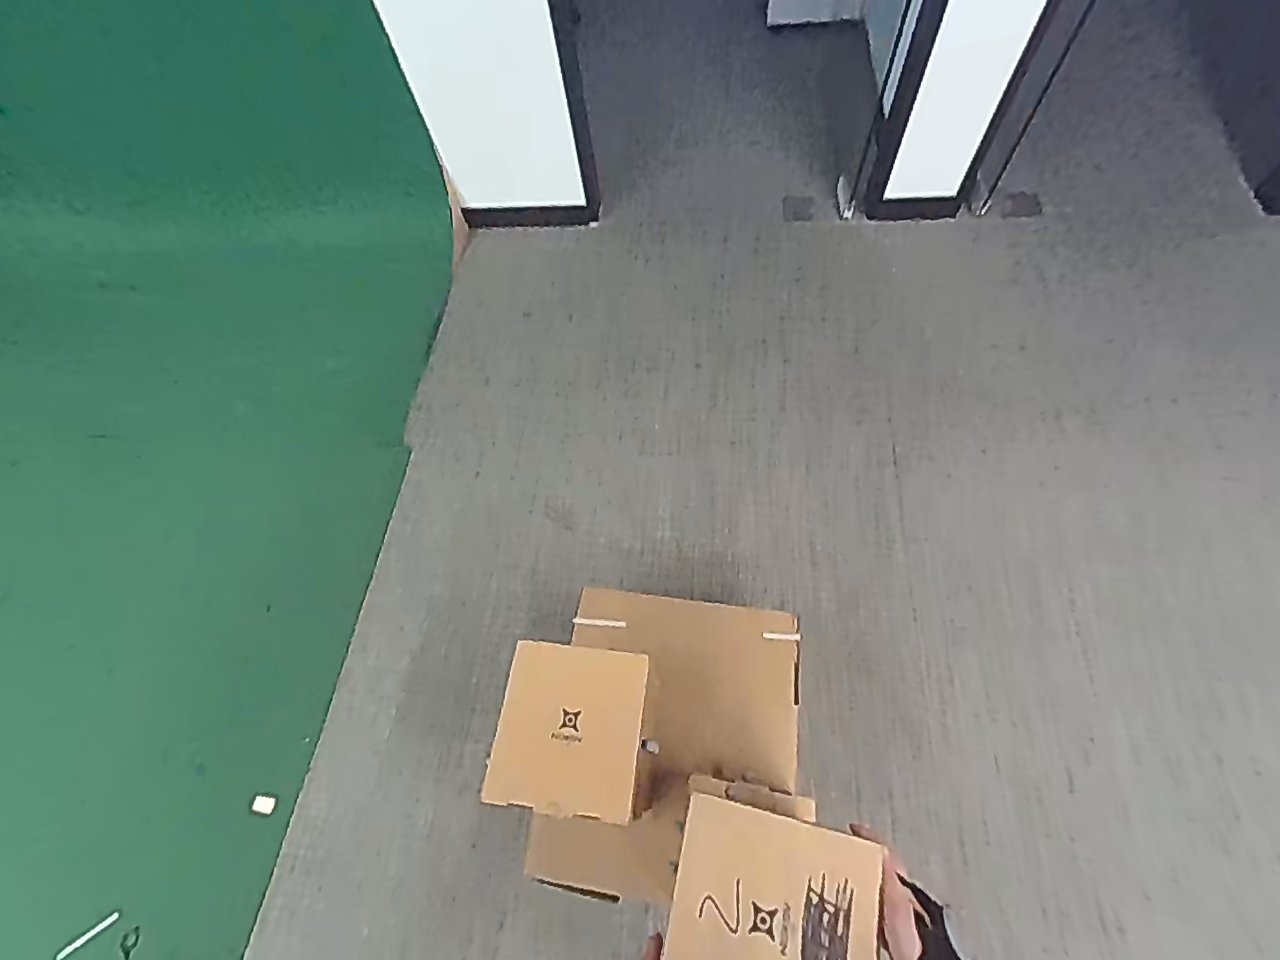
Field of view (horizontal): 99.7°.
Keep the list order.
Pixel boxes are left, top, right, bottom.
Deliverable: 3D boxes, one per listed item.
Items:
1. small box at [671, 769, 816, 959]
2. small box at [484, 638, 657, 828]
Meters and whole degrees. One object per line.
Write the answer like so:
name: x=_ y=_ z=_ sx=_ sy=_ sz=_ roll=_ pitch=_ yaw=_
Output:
small box: x=0.137 y=0.510 z=0.738 sx=0.168 sy=0.176 sz=0.179 roll=7 pitch=61 yaw=9
small box: x=-0.071 y=0.315 z=0.682 sx=0.168 sy=0.176 sz=0.179 roll=5 pitch=64 yaw=9
